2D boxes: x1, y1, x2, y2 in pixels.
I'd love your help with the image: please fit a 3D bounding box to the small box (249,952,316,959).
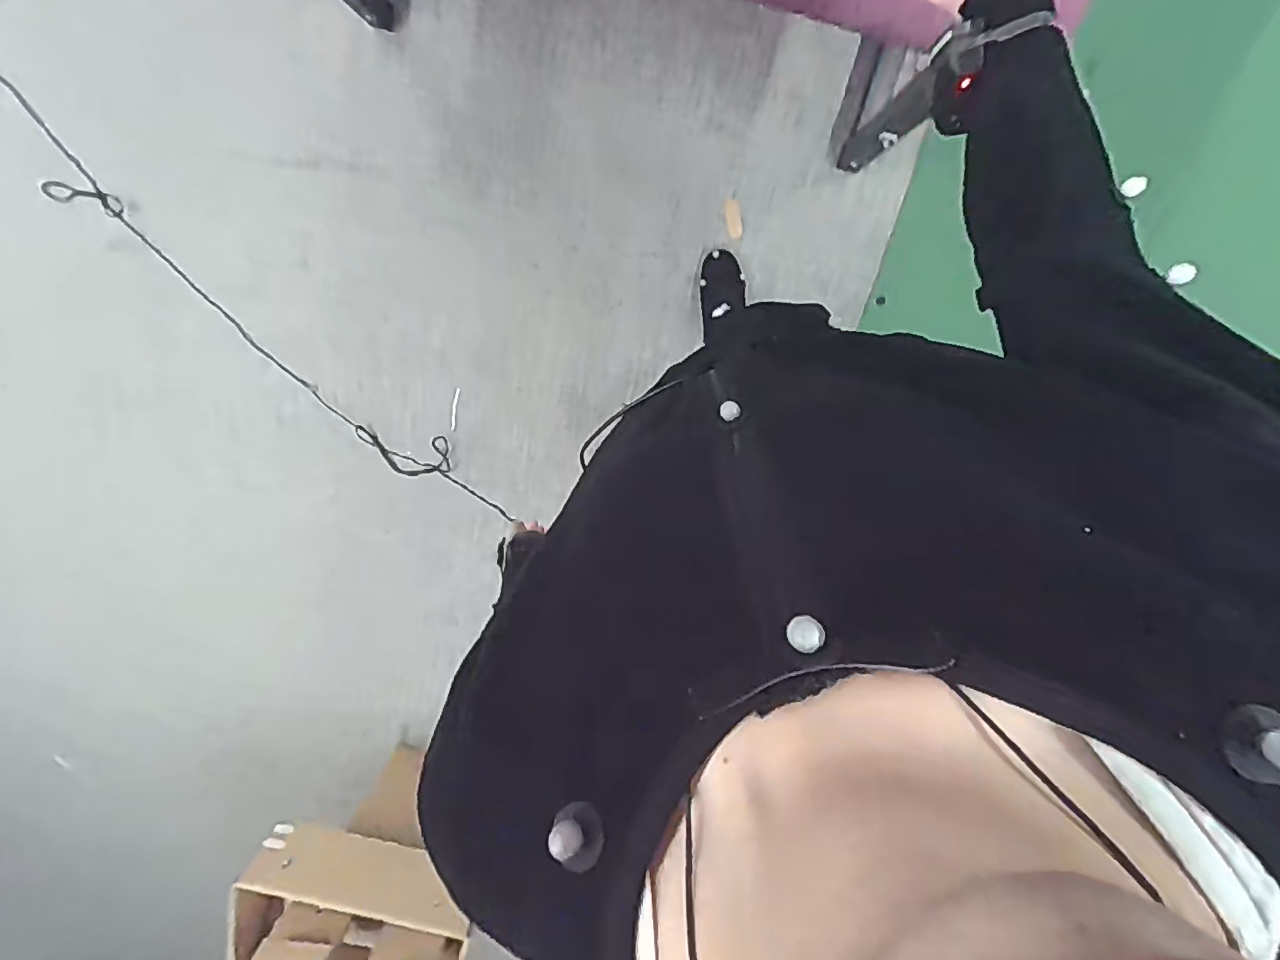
[{"bbox_3d":[-0.891,1.267,1.279,0.179,0.176,0.168,7,109,-1],"label":"small box"}]
